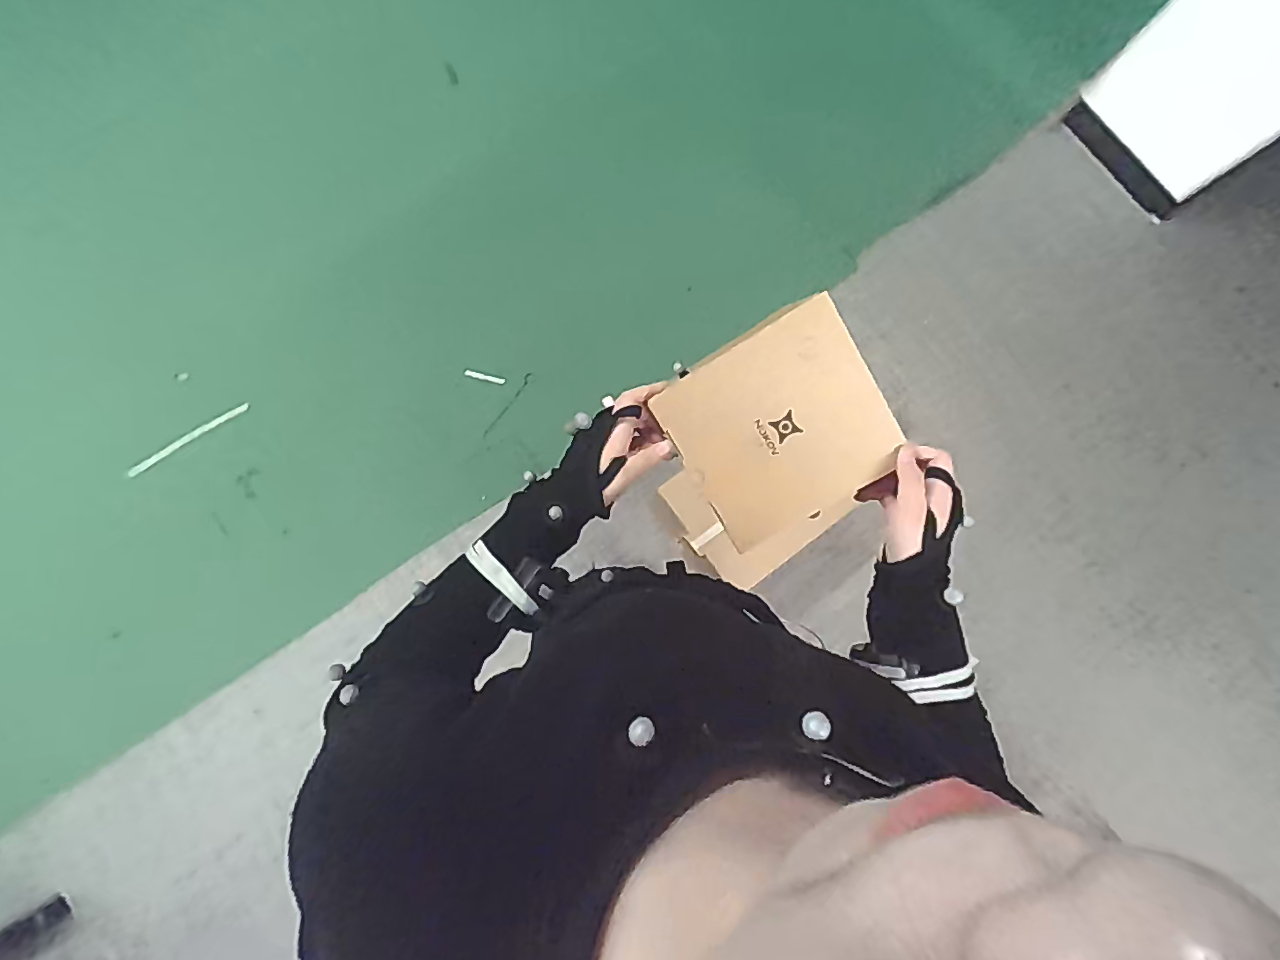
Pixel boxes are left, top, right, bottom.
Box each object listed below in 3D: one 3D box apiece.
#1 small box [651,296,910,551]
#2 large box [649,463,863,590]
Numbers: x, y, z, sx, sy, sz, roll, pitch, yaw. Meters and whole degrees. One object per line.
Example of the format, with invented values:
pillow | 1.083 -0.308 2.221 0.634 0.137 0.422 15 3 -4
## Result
small box | 0.125 -0.062 0.546 0.179 0.176 0.168 -31 100 10
large box | 0.276 0.046 1.412 0.408 0.320 0.320 -35 84 -9
